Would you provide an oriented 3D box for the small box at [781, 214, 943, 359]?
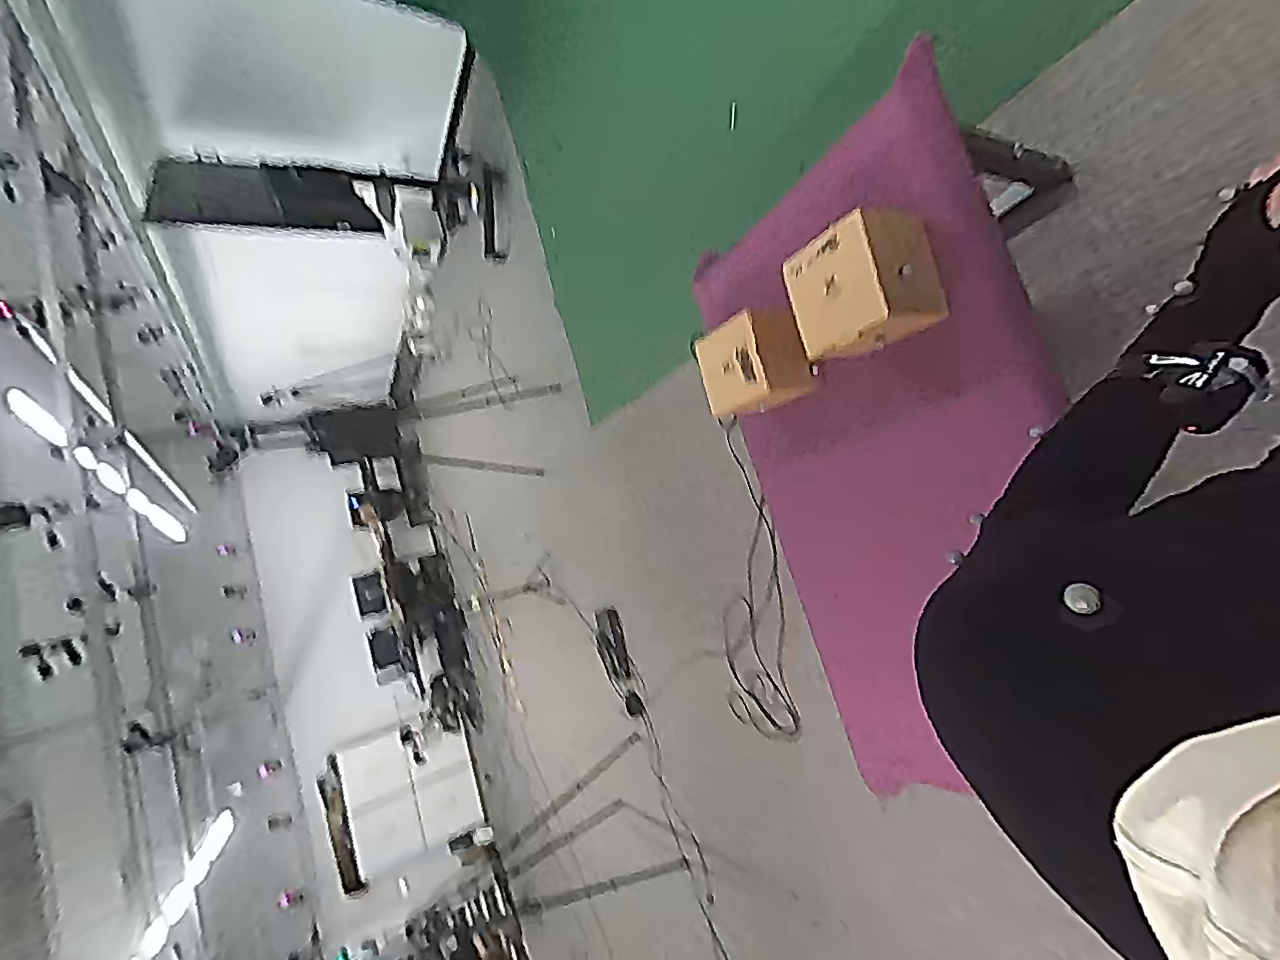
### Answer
[{"bbox_3d":[0.375,-0.322,0.914,0.168,0.176,0.179,-21,83,58],"label":"small box"}]

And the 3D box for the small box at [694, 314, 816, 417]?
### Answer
[{"bbox_3d":[0.247,-0.242,1.140,0.179,0.176,0.168,-19,84,58],"label":"small box"}]
